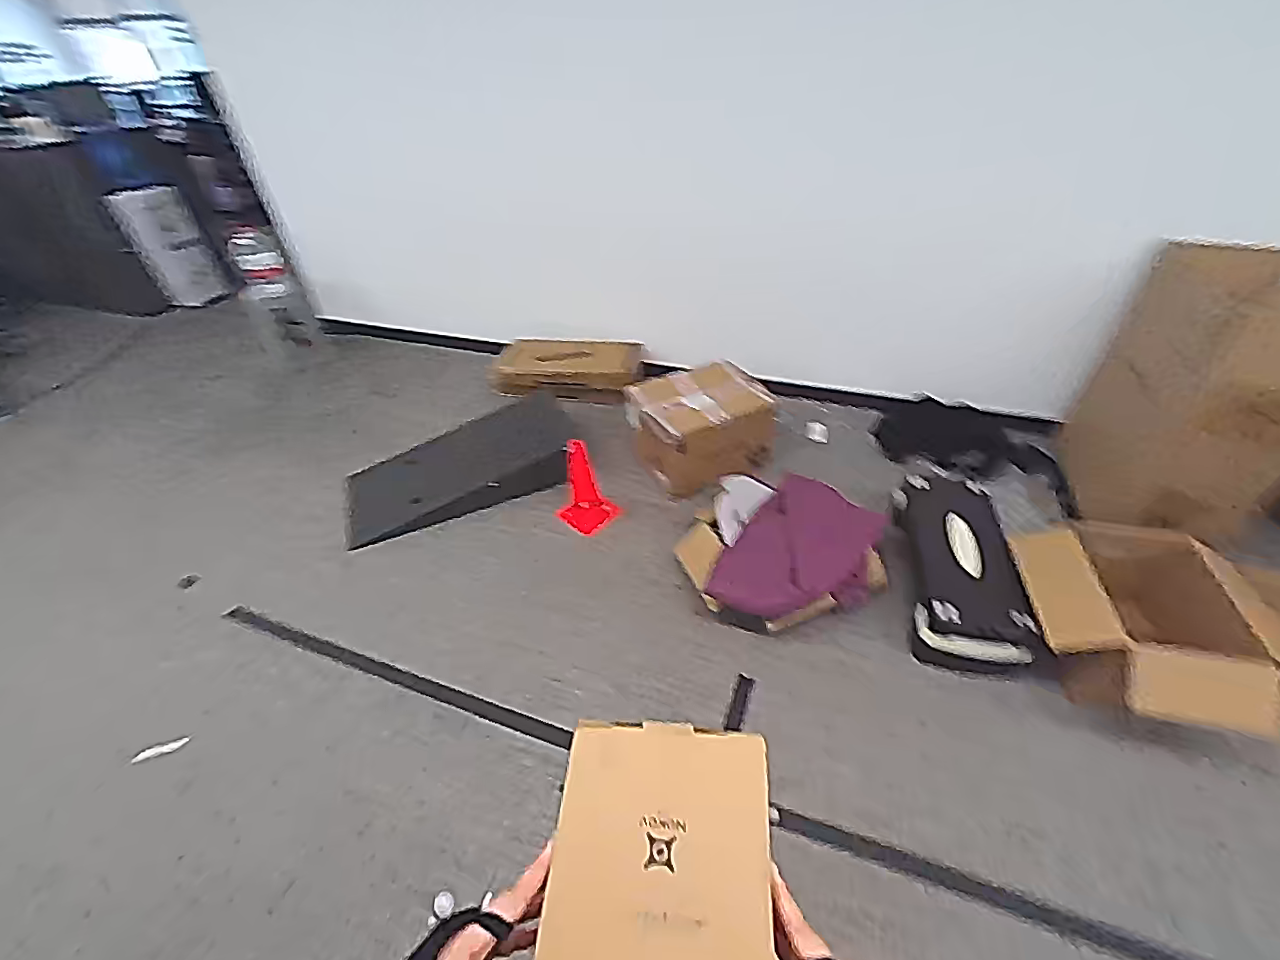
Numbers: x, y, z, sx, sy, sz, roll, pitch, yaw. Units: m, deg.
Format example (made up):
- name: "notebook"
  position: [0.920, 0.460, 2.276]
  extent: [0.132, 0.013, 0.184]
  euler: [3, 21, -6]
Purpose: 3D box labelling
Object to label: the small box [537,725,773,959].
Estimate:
- name: "small box"
  position: [0.023, 0.338, 0.474]
  extent: [0.168, 0.176, 0.179]
  euler: [0, 48, 8]
